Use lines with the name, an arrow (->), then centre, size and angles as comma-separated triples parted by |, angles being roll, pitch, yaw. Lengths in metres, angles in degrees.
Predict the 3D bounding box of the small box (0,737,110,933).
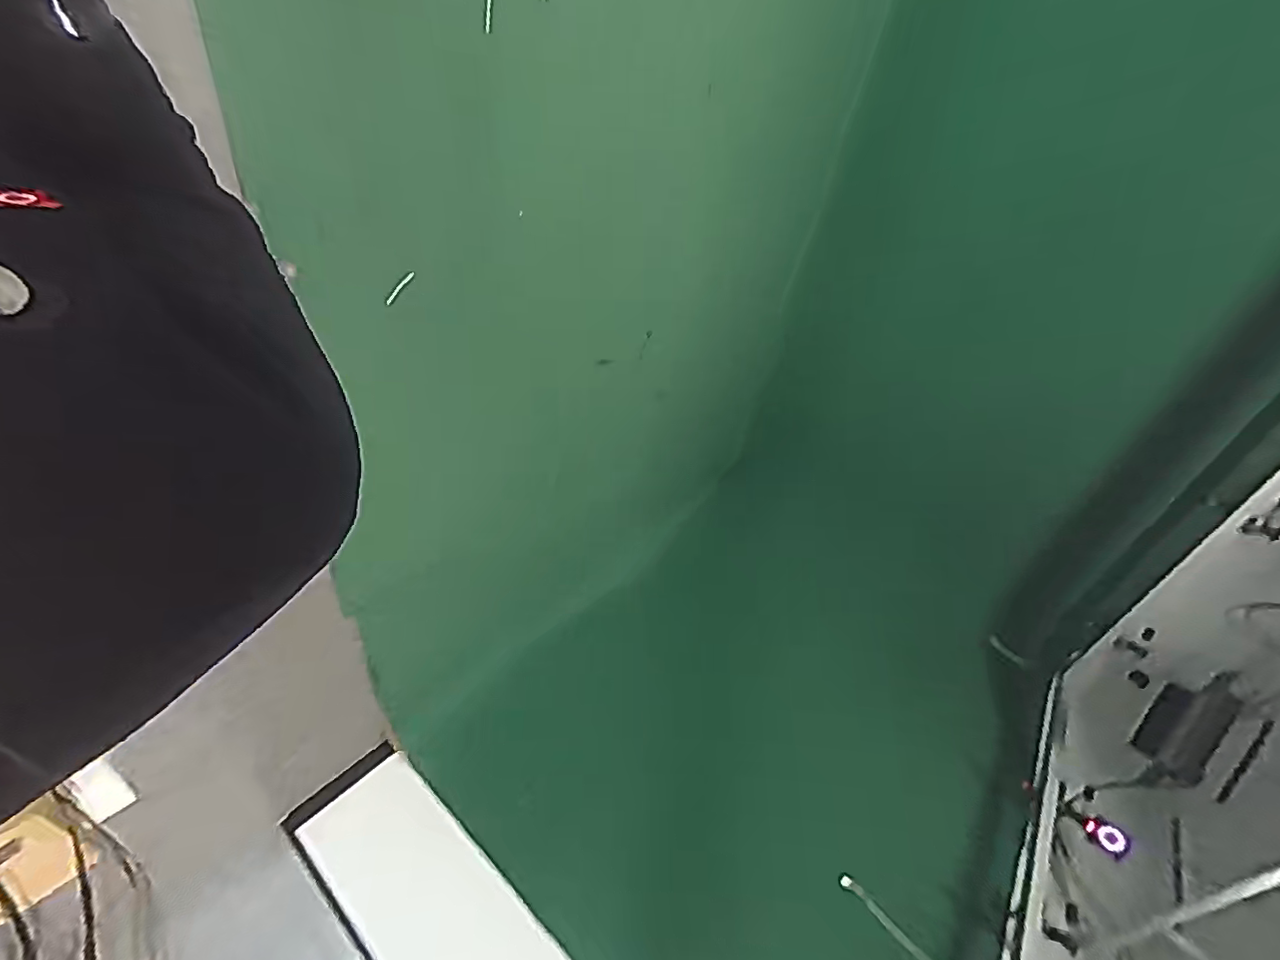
small box -> -0.883, 0.485, 0.728 | 0.168, 0.176, 0.179 | -32, 145, -40
